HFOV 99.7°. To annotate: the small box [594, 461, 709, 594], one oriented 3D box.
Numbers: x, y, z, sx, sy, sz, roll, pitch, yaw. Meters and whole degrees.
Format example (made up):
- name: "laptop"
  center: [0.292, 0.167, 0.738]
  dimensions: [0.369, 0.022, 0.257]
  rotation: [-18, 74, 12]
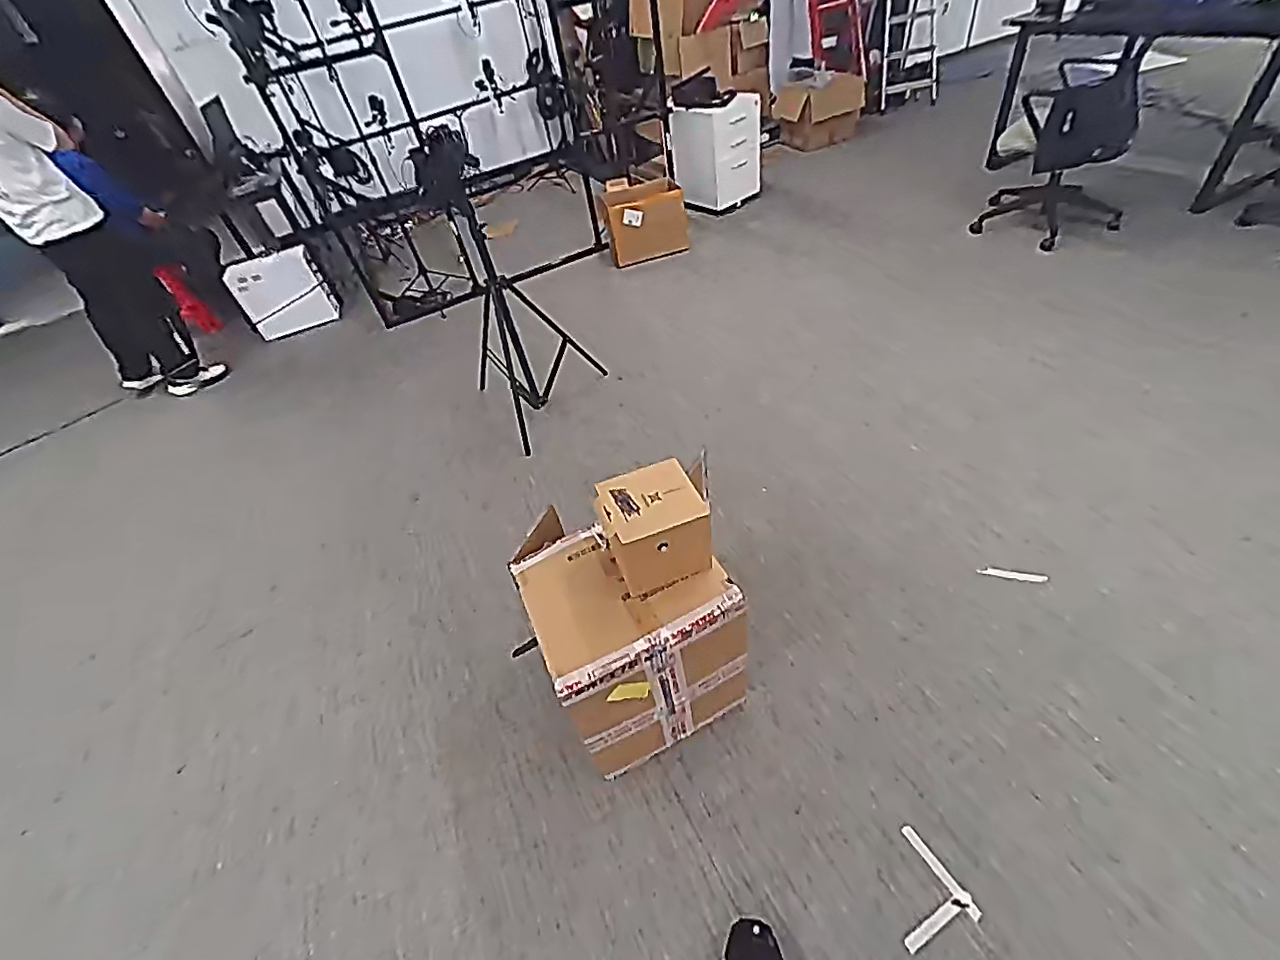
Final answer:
- name: "small box"
  center: [0.027, 0.097, 1.063]
  dimensions: [0.179, 0.176, 0.168]
  rotation: [-19, 46, -11]
